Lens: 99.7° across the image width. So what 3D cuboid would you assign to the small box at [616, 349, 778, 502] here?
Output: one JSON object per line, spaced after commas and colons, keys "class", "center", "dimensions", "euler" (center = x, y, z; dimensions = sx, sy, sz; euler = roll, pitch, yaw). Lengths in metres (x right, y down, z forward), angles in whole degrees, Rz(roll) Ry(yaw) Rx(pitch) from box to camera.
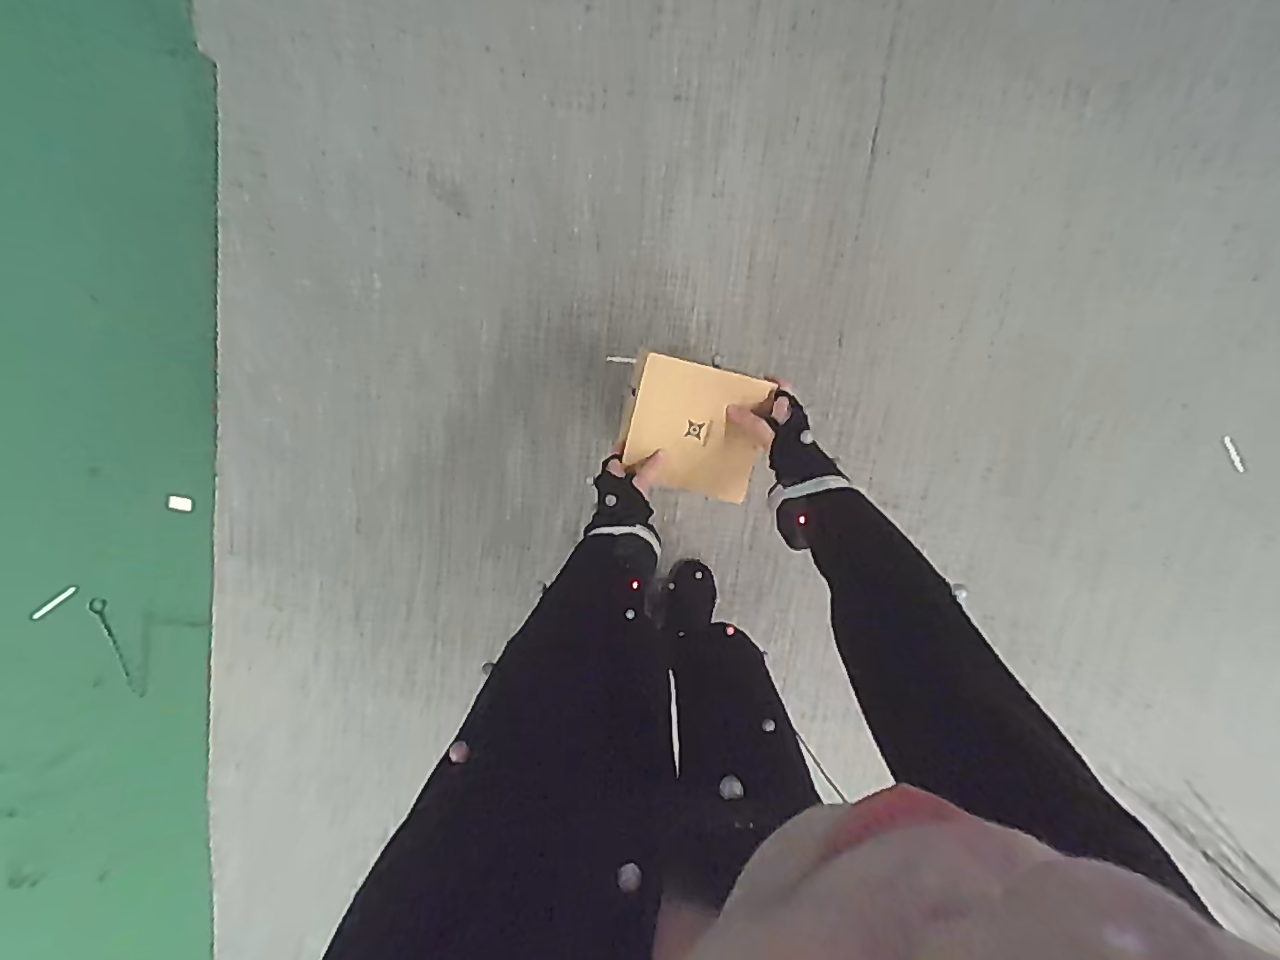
{"class": "small box", "center": [0.067, -0.086, 0.770], "dimensions": [0.179, 0.176, 0.168], "euler": [12, 106, -9]}
